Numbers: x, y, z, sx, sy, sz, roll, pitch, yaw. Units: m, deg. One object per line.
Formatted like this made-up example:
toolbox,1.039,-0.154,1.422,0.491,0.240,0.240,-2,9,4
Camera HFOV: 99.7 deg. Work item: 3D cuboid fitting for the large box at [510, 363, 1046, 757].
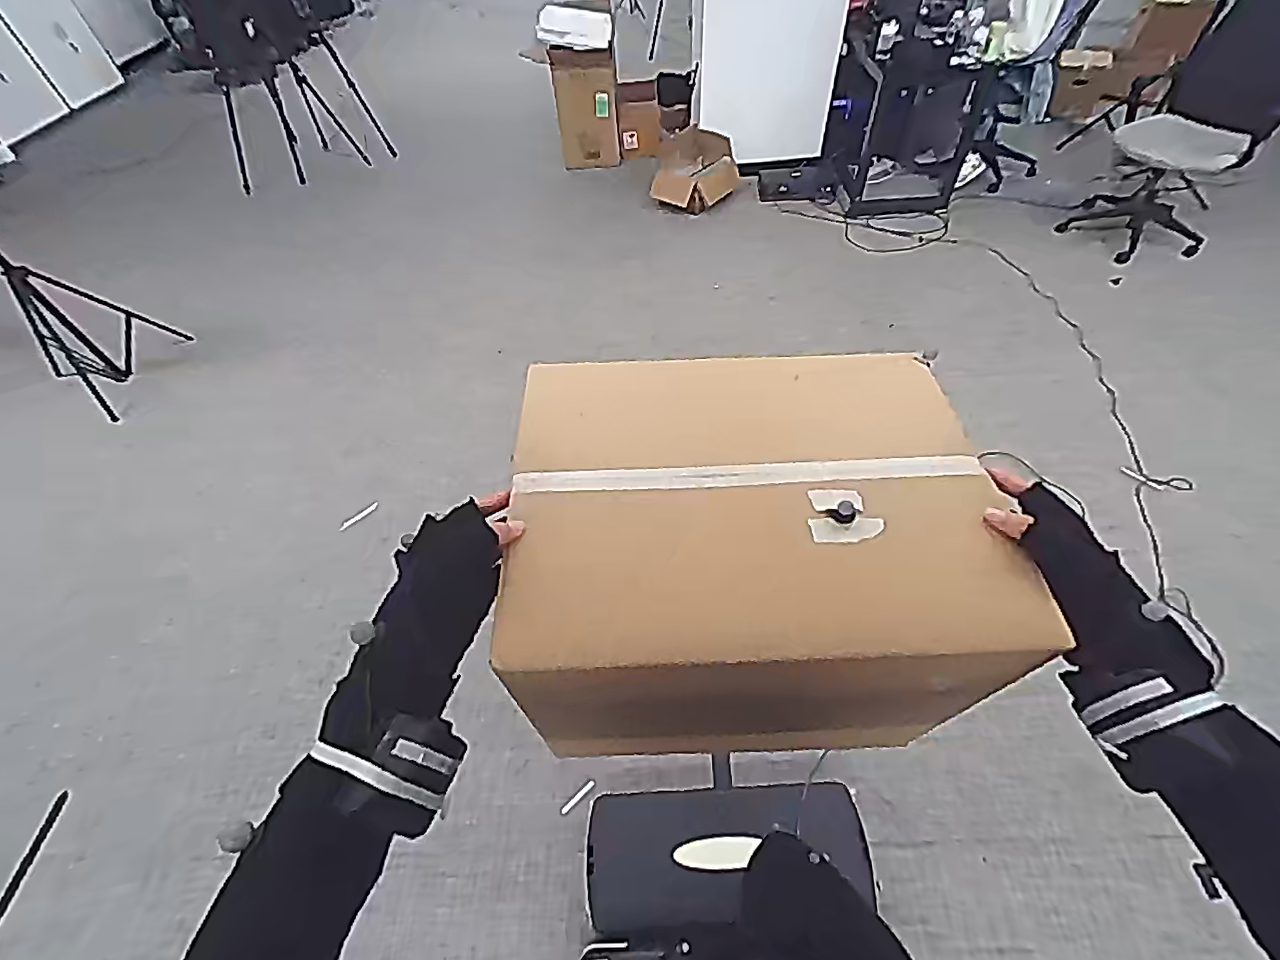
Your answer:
large box,0.095,0.096,0.597,0.408,0.320,0.320,-2,53,-1

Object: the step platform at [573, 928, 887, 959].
step platform,0.187,1.113,1.094,0.684,0.204,0.286,-5,51,2
